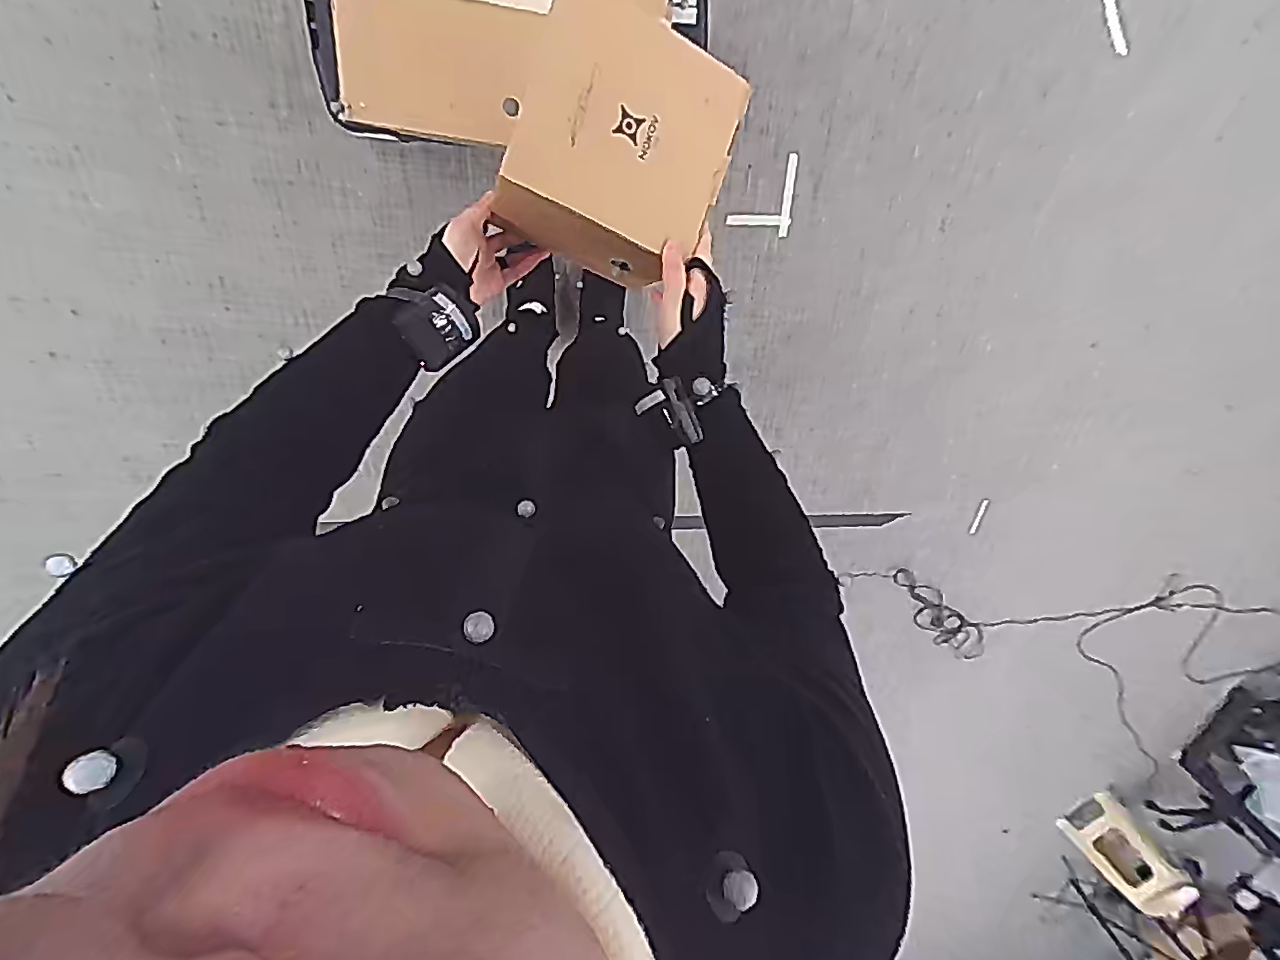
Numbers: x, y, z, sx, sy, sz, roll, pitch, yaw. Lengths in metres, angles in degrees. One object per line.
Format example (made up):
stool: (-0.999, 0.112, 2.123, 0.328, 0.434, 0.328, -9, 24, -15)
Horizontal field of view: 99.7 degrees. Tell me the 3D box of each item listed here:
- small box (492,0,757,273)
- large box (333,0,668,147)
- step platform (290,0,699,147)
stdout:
small box: (-0.028, -0.312, 0.510, 0.179, 0.176, 0.168, 18, 96, -21)
large box: (-0.181, -0.660, 0.781, 0.408, 0.320, 0.320, 3, 118, -11)
step platform: (-0.238, -0.768, 0.988, 0.684, 0.204, 0.286, 5, 118, -12)
